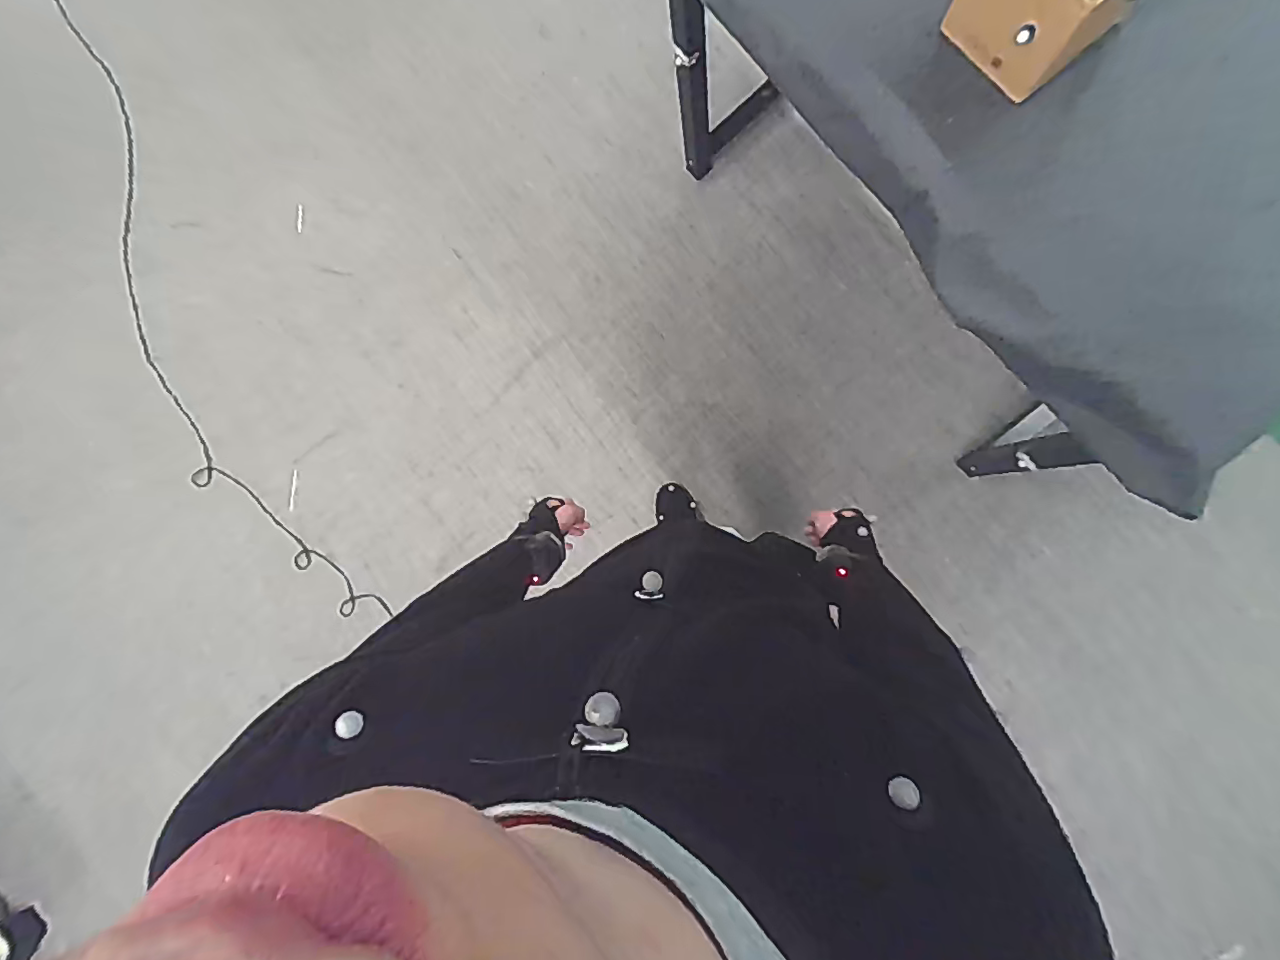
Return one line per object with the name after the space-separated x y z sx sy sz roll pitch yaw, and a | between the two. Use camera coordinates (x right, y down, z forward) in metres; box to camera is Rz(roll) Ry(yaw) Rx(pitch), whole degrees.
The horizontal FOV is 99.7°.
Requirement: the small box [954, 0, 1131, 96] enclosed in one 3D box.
0.547 -0.660 0.701 0.179 0.176 0.168 -40 85 4 | small box
